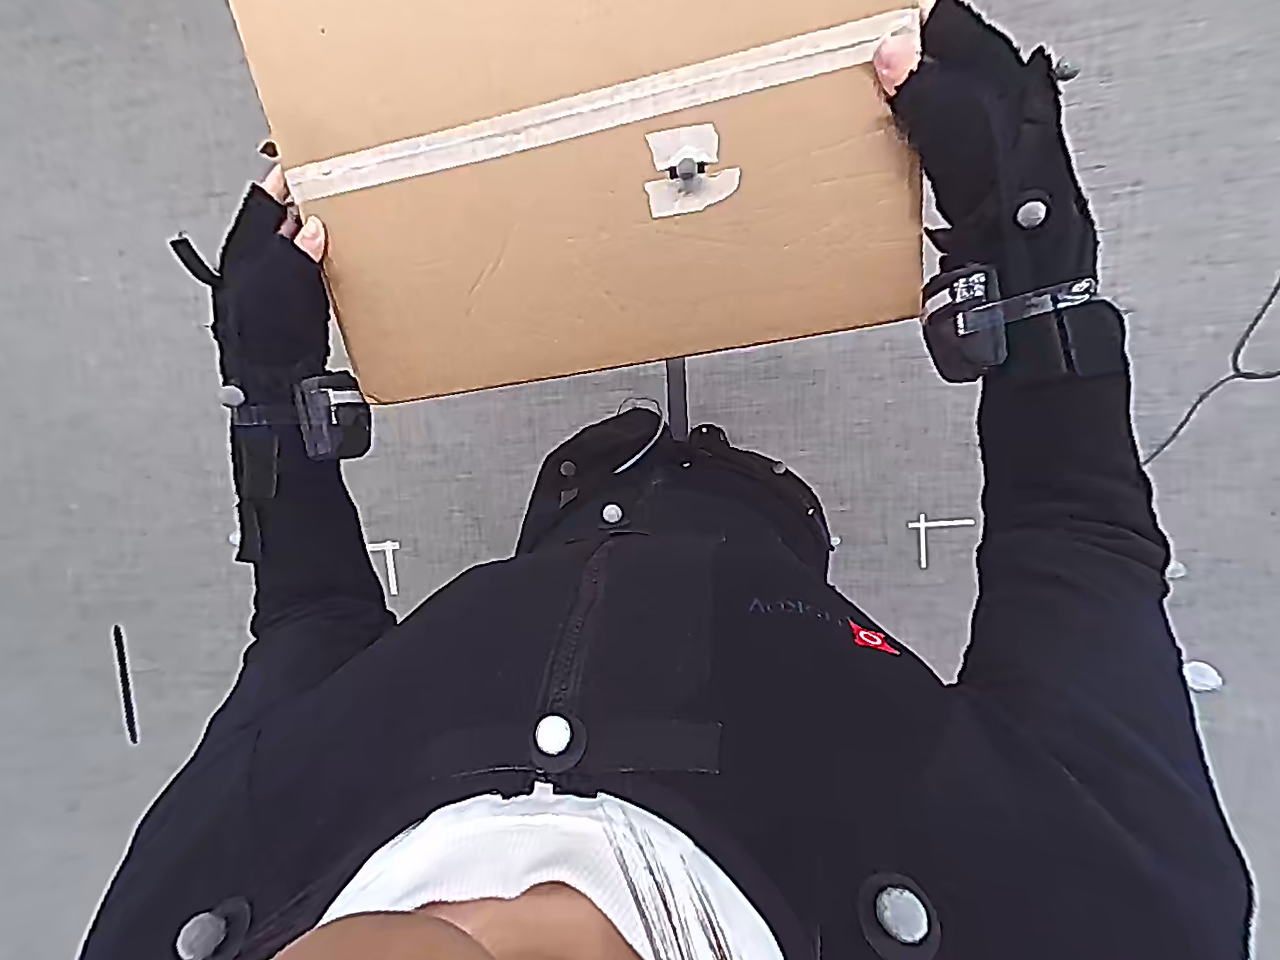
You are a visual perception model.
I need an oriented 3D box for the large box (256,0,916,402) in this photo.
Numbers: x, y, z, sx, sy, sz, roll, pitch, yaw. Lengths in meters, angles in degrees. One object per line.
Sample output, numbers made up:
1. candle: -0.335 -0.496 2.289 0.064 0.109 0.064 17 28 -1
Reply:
1. large box: -0.020 -0.280 0.494 0.408 0.320 0.320 -8 108 9
